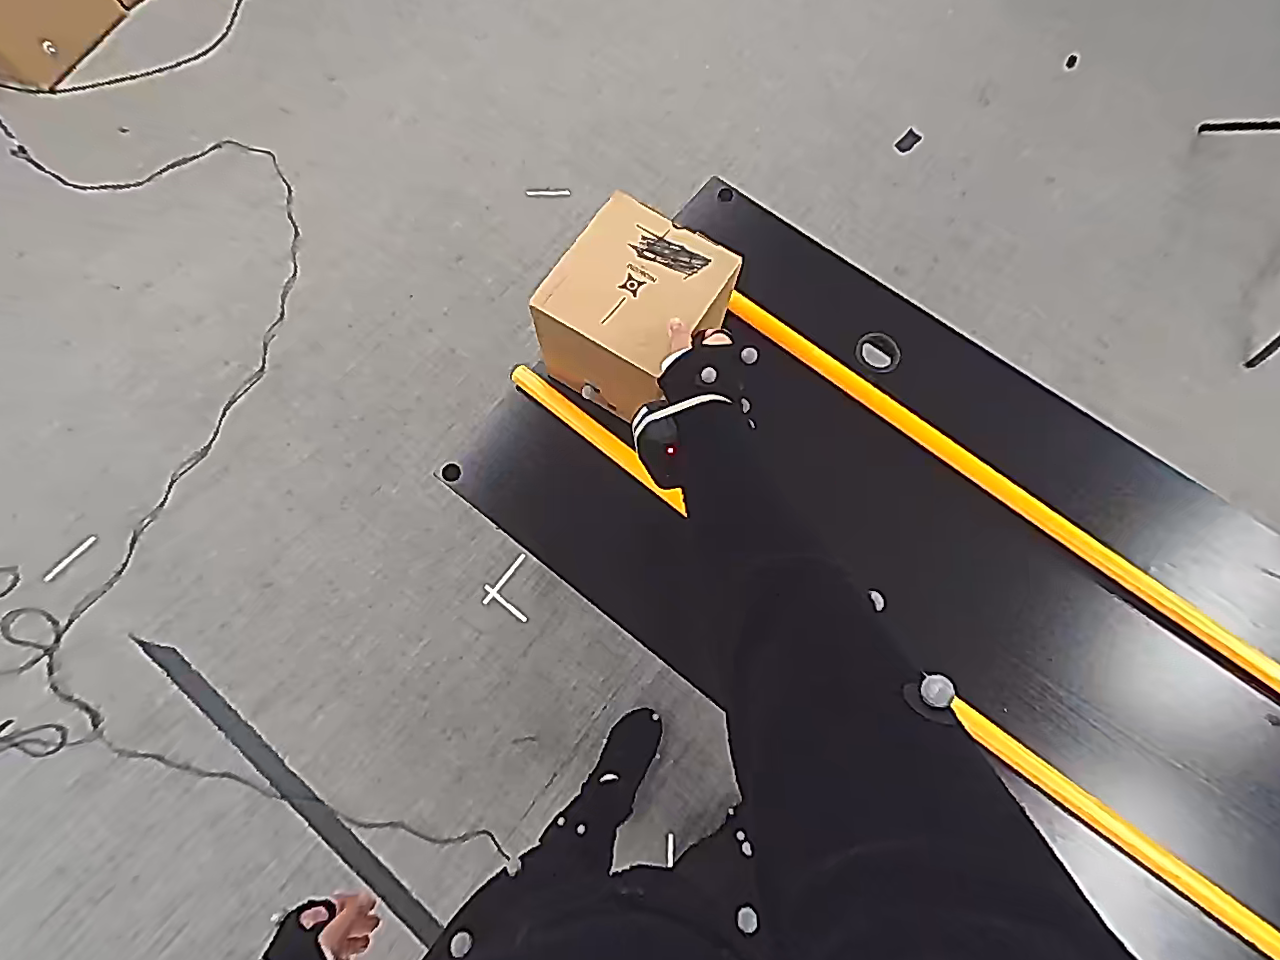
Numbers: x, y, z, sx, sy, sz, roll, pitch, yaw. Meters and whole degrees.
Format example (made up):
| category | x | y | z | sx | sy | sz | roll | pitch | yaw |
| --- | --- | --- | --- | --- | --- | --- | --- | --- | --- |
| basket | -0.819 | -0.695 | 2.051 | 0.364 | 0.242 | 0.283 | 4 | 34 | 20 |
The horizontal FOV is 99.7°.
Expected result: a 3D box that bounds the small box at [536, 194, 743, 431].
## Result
| category | x | y | z | sx | sy | sz | roll | pitch | yaw |
| --- | --- | --- | --- | --- | --- | --- | --- | --- | --- |
| small box | -0.002 | -0.191 | 0.657 | 0.168 | 0.176 | 0.179 | 32 | 76 | 7 |
